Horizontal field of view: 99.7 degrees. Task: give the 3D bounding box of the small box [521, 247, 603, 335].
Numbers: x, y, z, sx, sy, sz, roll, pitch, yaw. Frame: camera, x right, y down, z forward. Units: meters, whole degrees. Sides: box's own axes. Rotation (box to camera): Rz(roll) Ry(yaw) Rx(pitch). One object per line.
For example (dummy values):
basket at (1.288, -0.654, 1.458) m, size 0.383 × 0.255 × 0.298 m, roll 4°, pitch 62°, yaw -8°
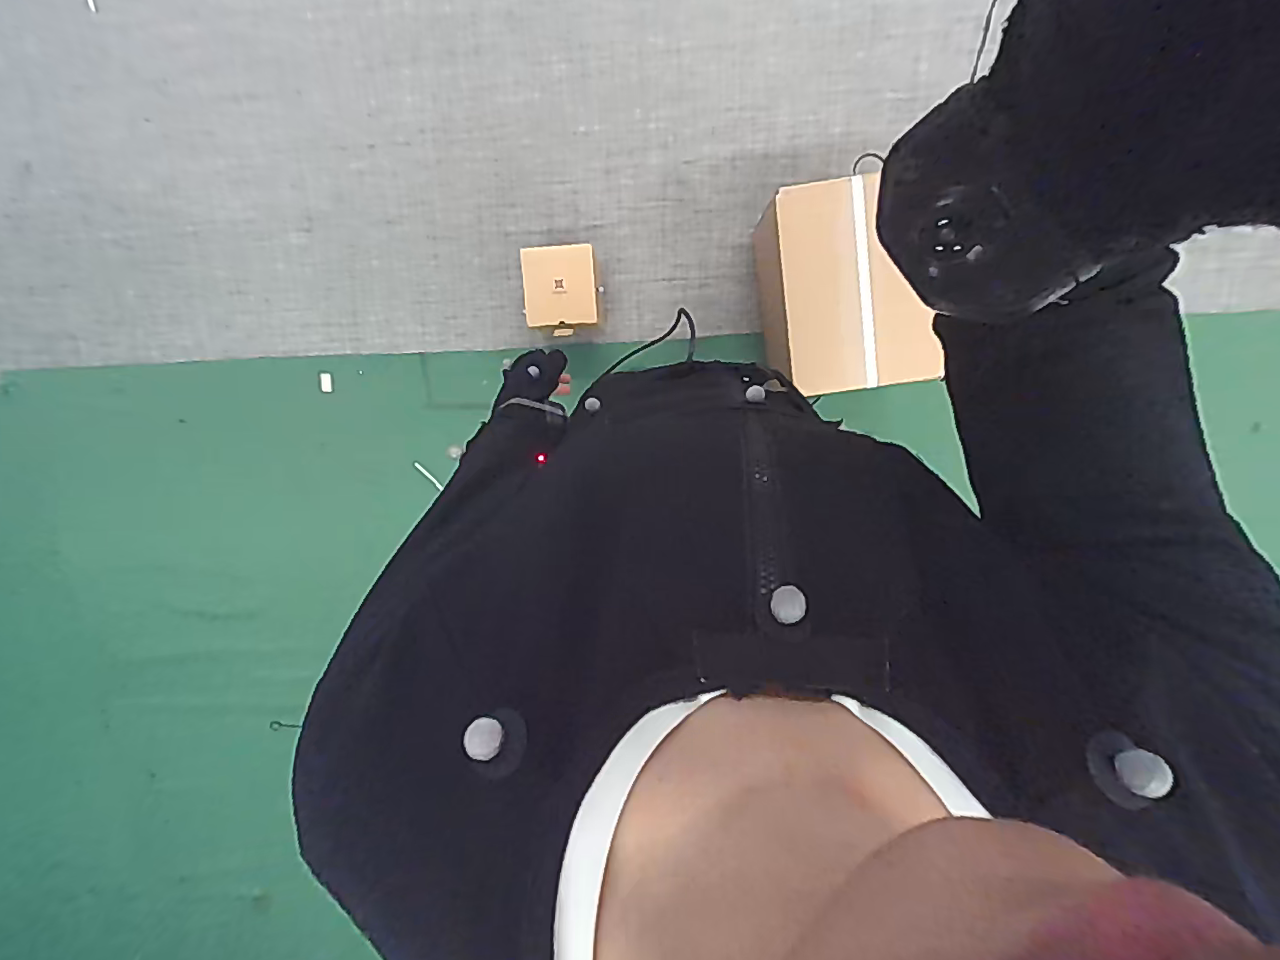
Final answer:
small box at (-0.184, -0.454, 1.319) m, size 0.168 × 0.176 × 0.179 m, roll -3°, pitch 102°, yaw 3°
